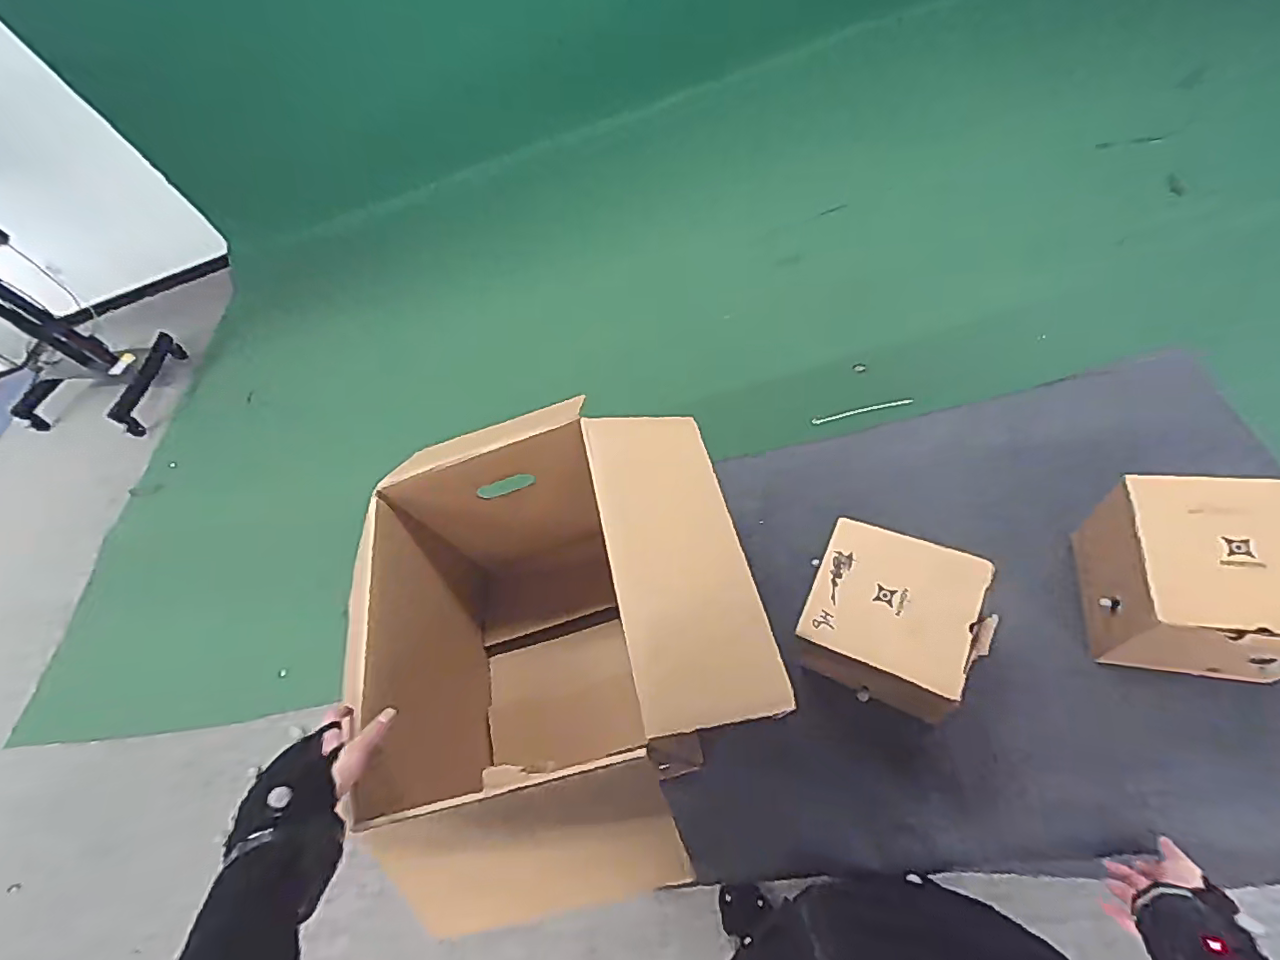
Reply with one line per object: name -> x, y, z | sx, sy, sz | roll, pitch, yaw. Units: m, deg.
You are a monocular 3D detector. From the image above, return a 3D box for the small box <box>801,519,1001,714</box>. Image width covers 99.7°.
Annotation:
small box -> 0.321, 0.179, 0.689 | 0.179, 0.176, 0.168 | 19, 67, 28

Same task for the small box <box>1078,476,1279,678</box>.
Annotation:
small box -> 0.638, 0.114, 0.616 | 0.168, 0.176, 0.179 | 3, 60, 20
